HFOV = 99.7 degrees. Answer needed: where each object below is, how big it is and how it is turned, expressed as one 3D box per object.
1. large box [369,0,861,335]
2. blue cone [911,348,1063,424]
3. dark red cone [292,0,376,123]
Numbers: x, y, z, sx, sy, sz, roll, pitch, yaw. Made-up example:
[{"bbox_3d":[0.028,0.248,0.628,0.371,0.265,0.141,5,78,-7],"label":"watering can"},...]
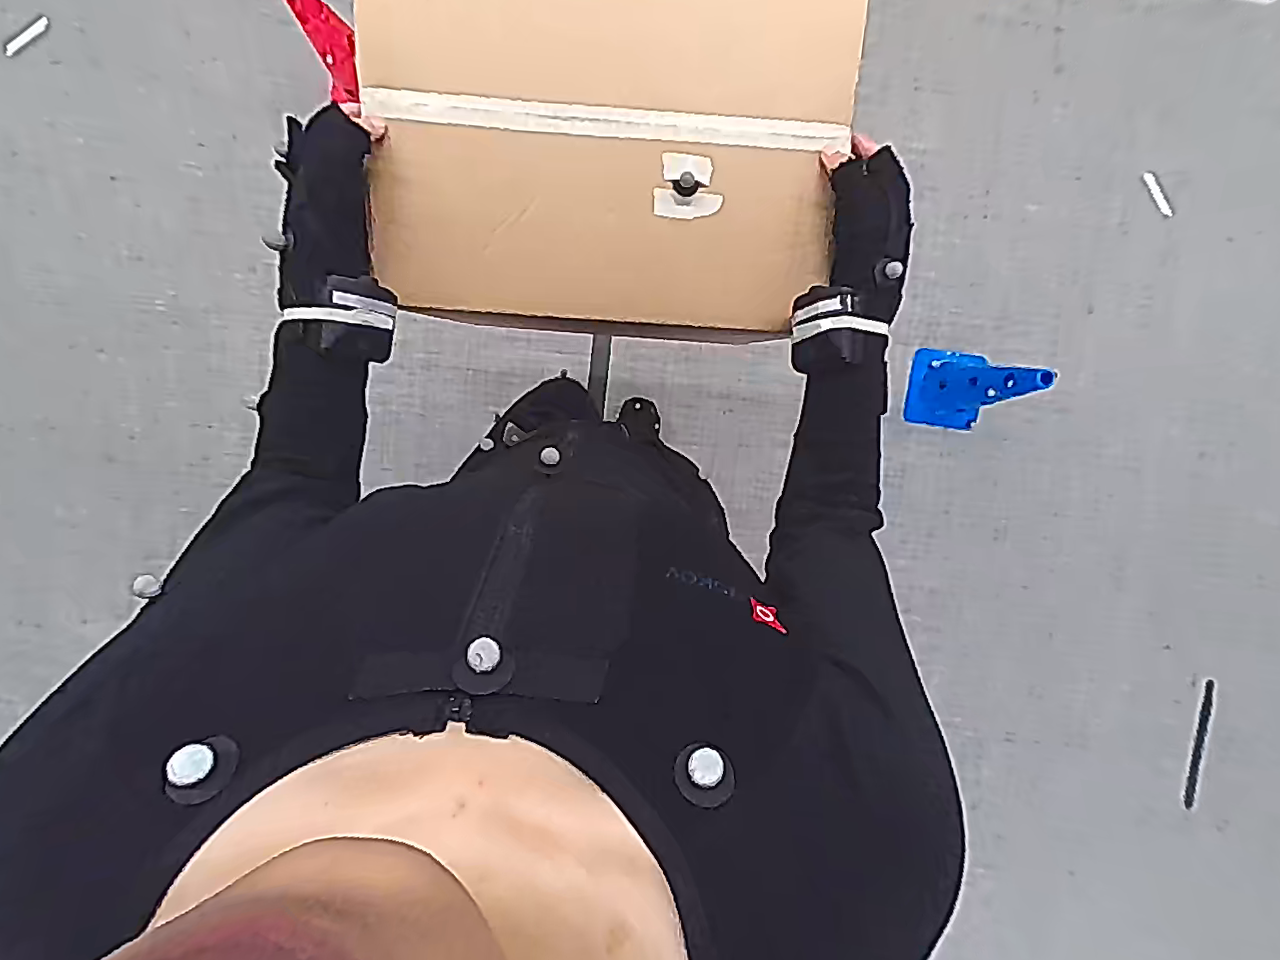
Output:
[{"bbox_3d":[-0.029,-0.336,0.599,0.408,0.320,0.320,3,103,-3],"label":"large box"},{"bbox_3d":[0.834,-0.234,1.289,0.192,0.380,0.193,9,96,-3],"label":"blue cone"},{"bbox_3d":[-0.662,-0.966,1.160,0.201,0.394,0.202,12,96,-3],"label":"dark red cone"}]
